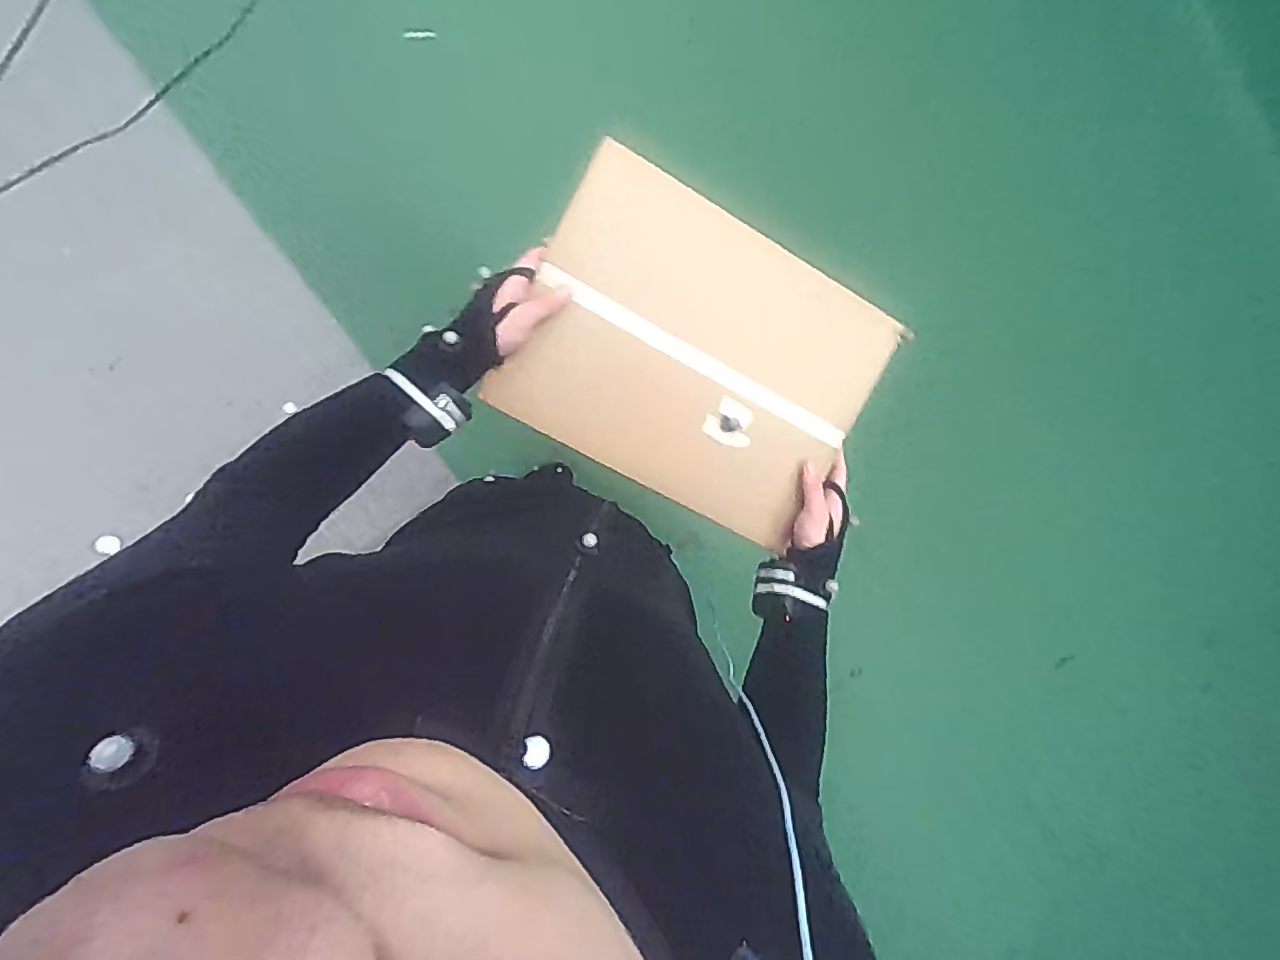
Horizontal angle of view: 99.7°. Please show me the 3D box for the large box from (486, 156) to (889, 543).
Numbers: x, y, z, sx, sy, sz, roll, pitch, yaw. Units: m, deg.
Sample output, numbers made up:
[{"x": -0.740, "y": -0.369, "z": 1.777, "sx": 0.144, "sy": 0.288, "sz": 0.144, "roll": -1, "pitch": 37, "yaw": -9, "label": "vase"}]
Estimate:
[{"x": 0.044, "y": -0.158, "z": 0.780, "sx": 0.408, "sy": 0.320, "sz": 0.320, "roll": 27, "pitch": 94, "yaw": -11, "label": "large box"}]
